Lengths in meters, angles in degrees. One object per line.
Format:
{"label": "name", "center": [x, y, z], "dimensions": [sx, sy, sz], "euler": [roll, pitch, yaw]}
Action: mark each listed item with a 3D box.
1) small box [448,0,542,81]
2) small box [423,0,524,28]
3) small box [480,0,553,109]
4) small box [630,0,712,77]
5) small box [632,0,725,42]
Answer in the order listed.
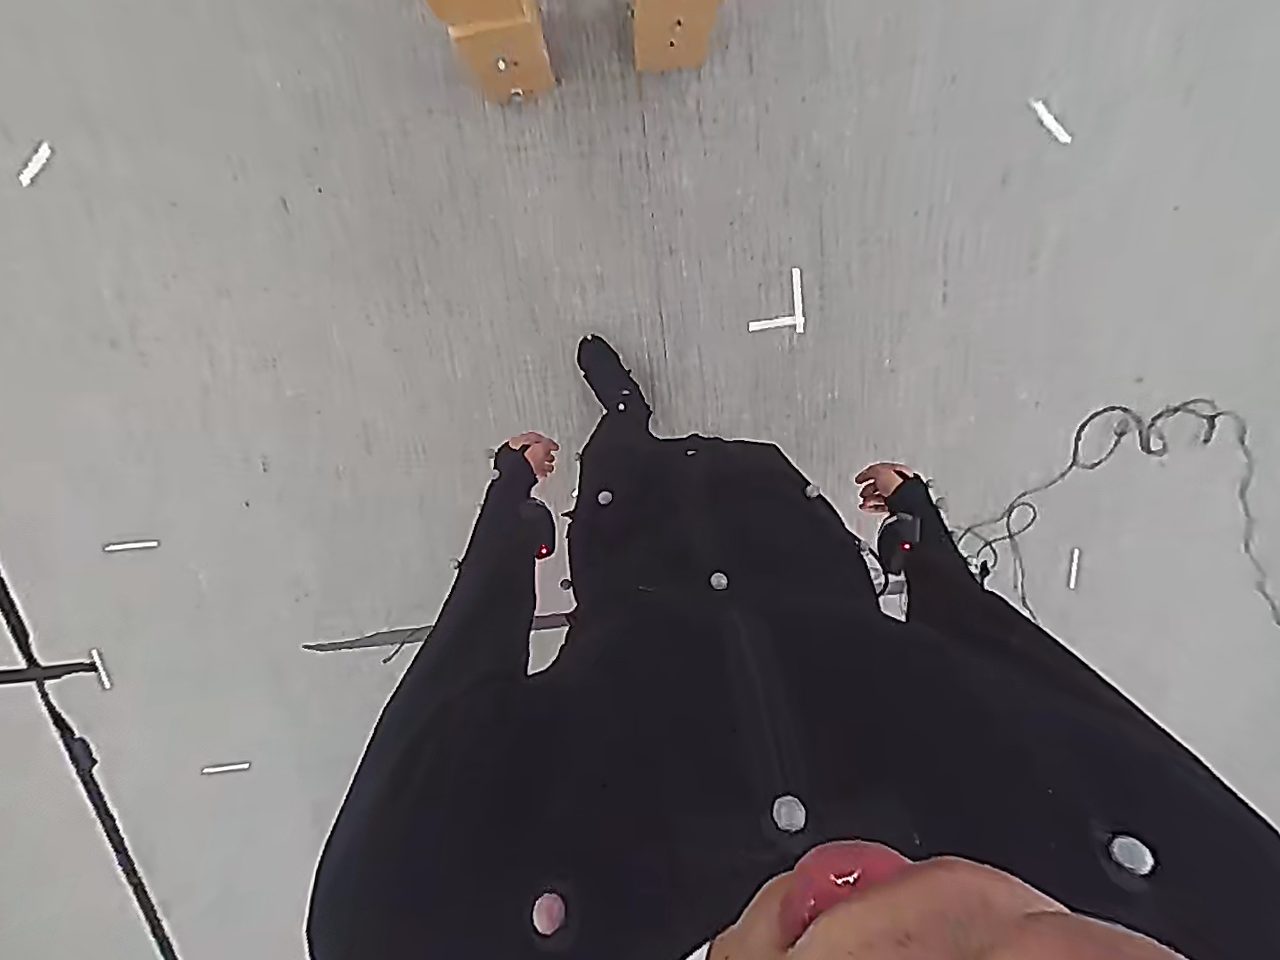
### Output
{"label": "small box", "center": [-0.308, -0.970, 1.114], "dimensions": [0.168, 0.176, 0.179], "euler": [-10, 105, 1]}
{"label": "small box", "center": [-0.314, -0.939, 0.954], "dimensions": [0.179, 0.176, 0.168], "euler": [-5, 104, -1]}
{"label": "small box", "center": [-0.308, -1.016, 1.271], "dimensions": [0.168, 0.176, 0.179], "euler": [-12, 105, 1]}
{"label": "small box", "center": [0.067, -1.081, 1.273], "dimensions": [0.179, 0.176, 0.168], "euler": [-5, 105, -2]}
{"label": "small box", "center": [0.076, -1.042, 1.113], "dimensions": [0.179, 0.176, 0.168], "euler": [-4, 104, -3]}
